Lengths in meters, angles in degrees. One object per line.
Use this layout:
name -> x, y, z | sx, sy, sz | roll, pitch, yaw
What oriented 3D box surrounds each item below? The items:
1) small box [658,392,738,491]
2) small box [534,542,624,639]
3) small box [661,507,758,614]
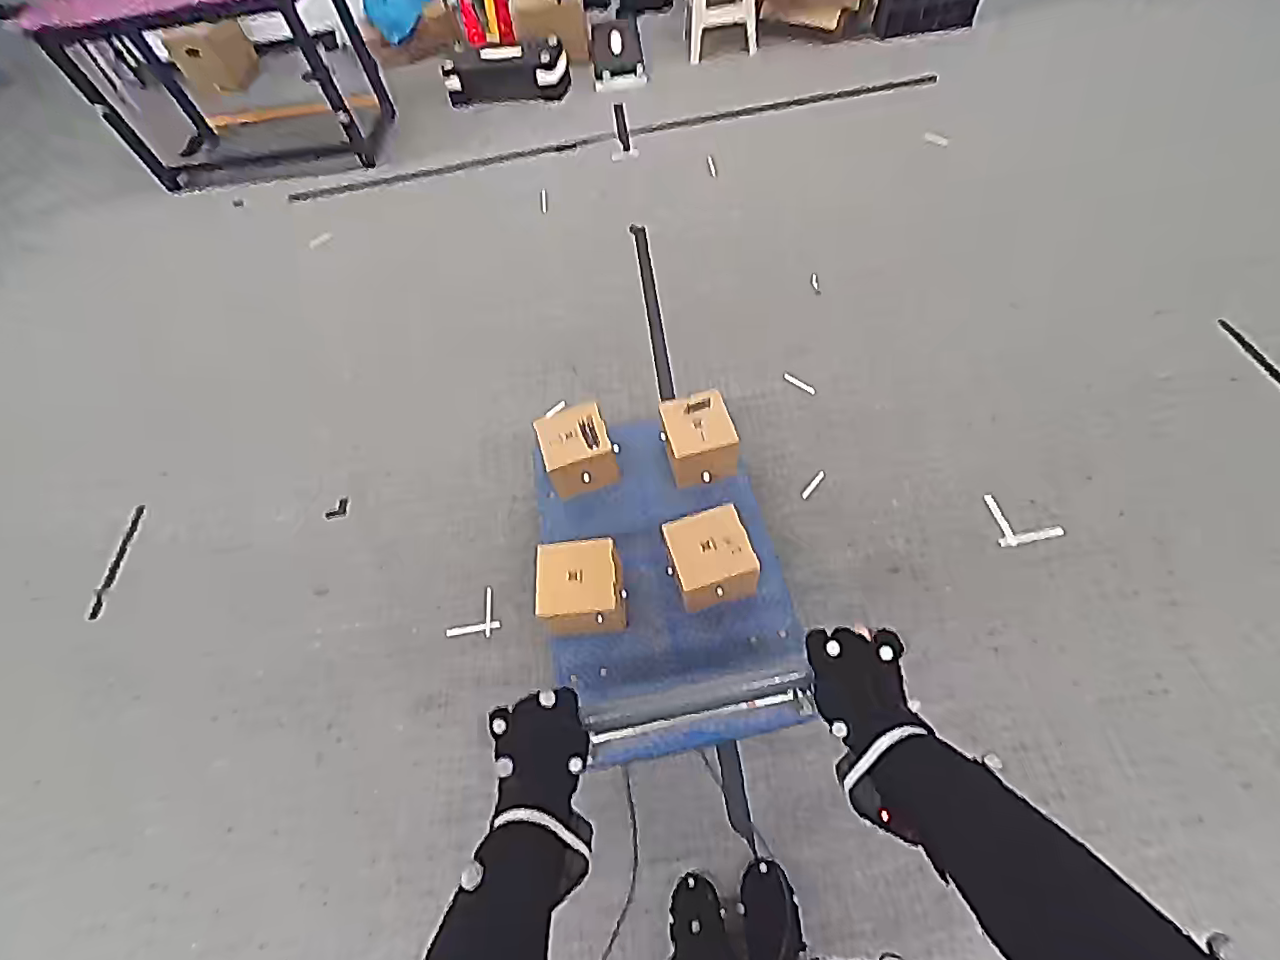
small box -> 0.150, -0.099, 1.428 | 0.168, 0.176, 0.179 | -15, 59, -1
small box -> -0.136, 0.260, 1.253 | 0.179, 0.176, 0.168 | -7, 58, 2
small box -> 0.160, 0.192, 1.253 | 0.179, 0.176, 0.168 | -17, 59, -3
